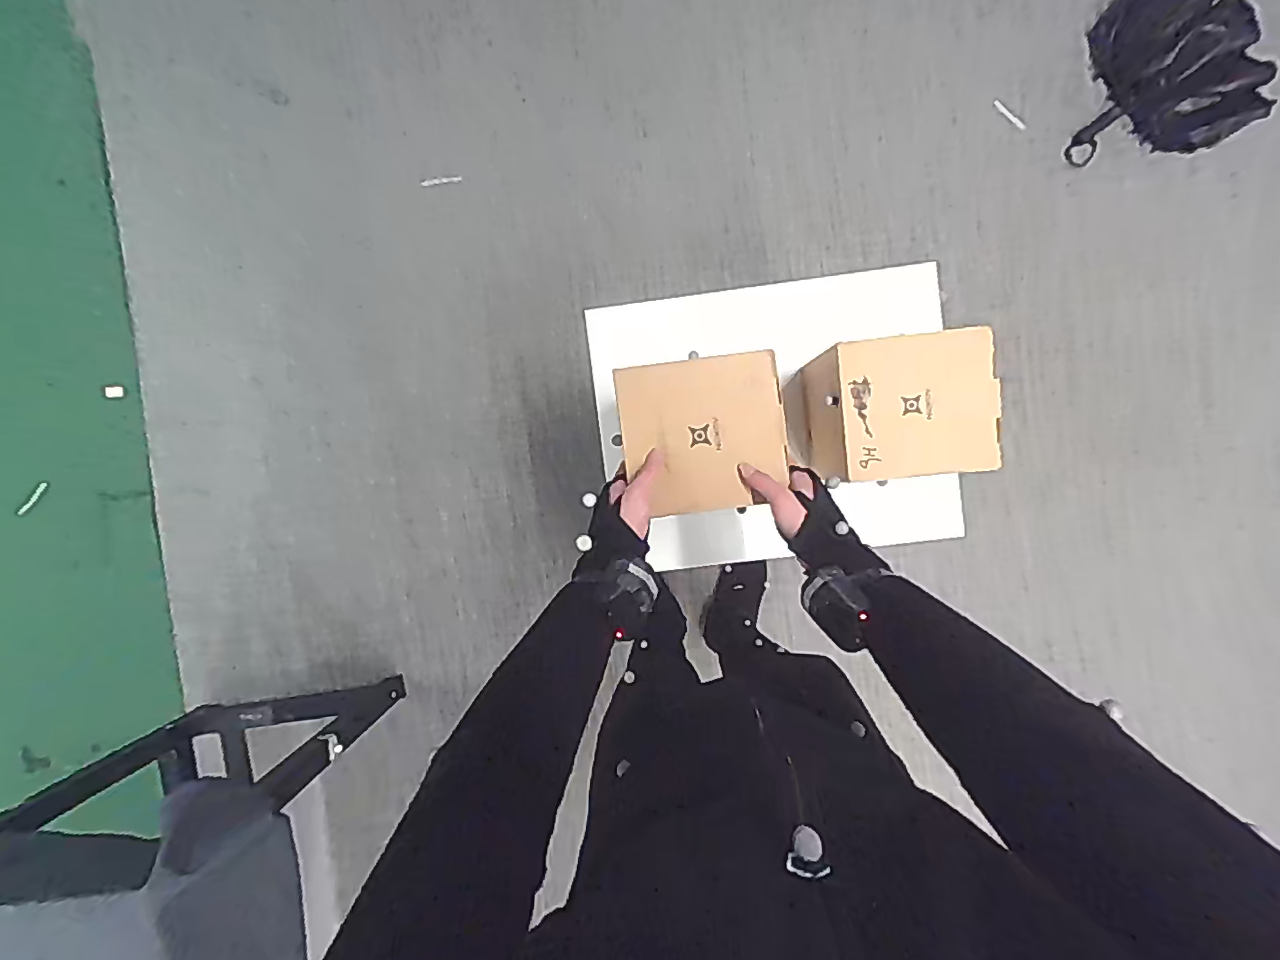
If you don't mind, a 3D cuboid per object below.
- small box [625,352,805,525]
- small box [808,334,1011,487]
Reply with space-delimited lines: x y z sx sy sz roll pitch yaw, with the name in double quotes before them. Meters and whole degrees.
"small box" 0.079 -0.047 0.642 0.179 0.176 0.168 -7 92 1
"small box" 0.330 -0.082 0.691 0.179 0.176 0.168 -5 92 1
